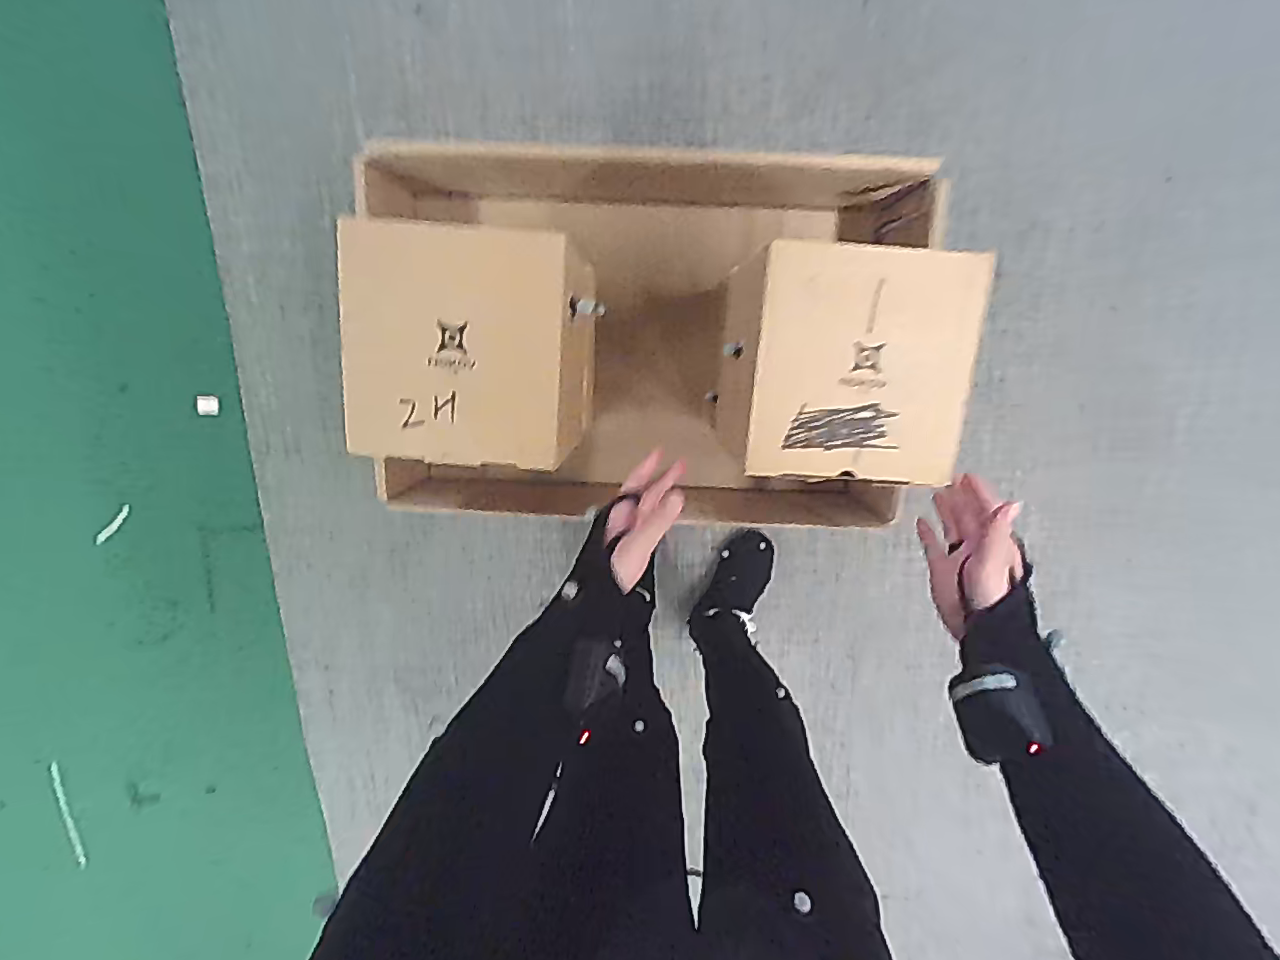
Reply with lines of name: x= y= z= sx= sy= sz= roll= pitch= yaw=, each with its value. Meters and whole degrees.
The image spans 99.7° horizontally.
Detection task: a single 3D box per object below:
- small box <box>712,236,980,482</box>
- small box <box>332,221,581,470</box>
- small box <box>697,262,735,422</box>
small box: x=0.160 y=-0.106 z=0.486 sx=0.168 sy=0.176 sz=0.179 roll=3 pitch=103 yaw=-1
small box: x=-0.146 y=-0.114 z=0.486 sx=0.168 sy=0.176 sz=0.179 roll=4 pitch=103 yaw=0
small box: x=0.162 y=-0.150 z=0.643 sx=0.168 sy=0.176 sz=0.179 roll=2 pitch=104 yaw=-1
